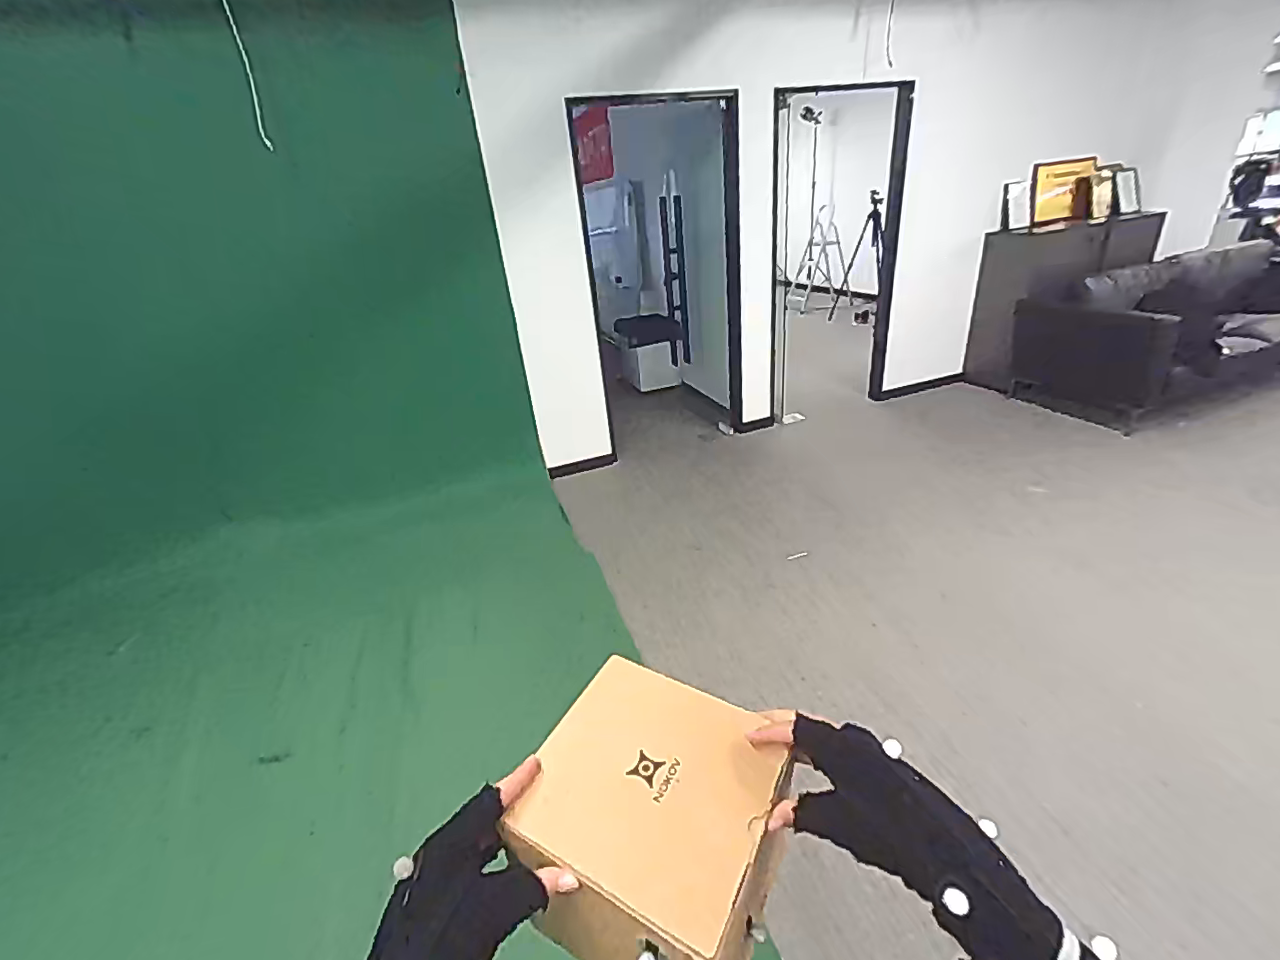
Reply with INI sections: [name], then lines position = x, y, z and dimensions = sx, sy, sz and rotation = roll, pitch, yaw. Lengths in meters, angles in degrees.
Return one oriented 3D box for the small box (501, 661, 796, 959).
[small box]
position = 0.014, 0.294, 0.453
dimensions = 0.179, 0.176, 0.168
rotation = 14, 34, 28
